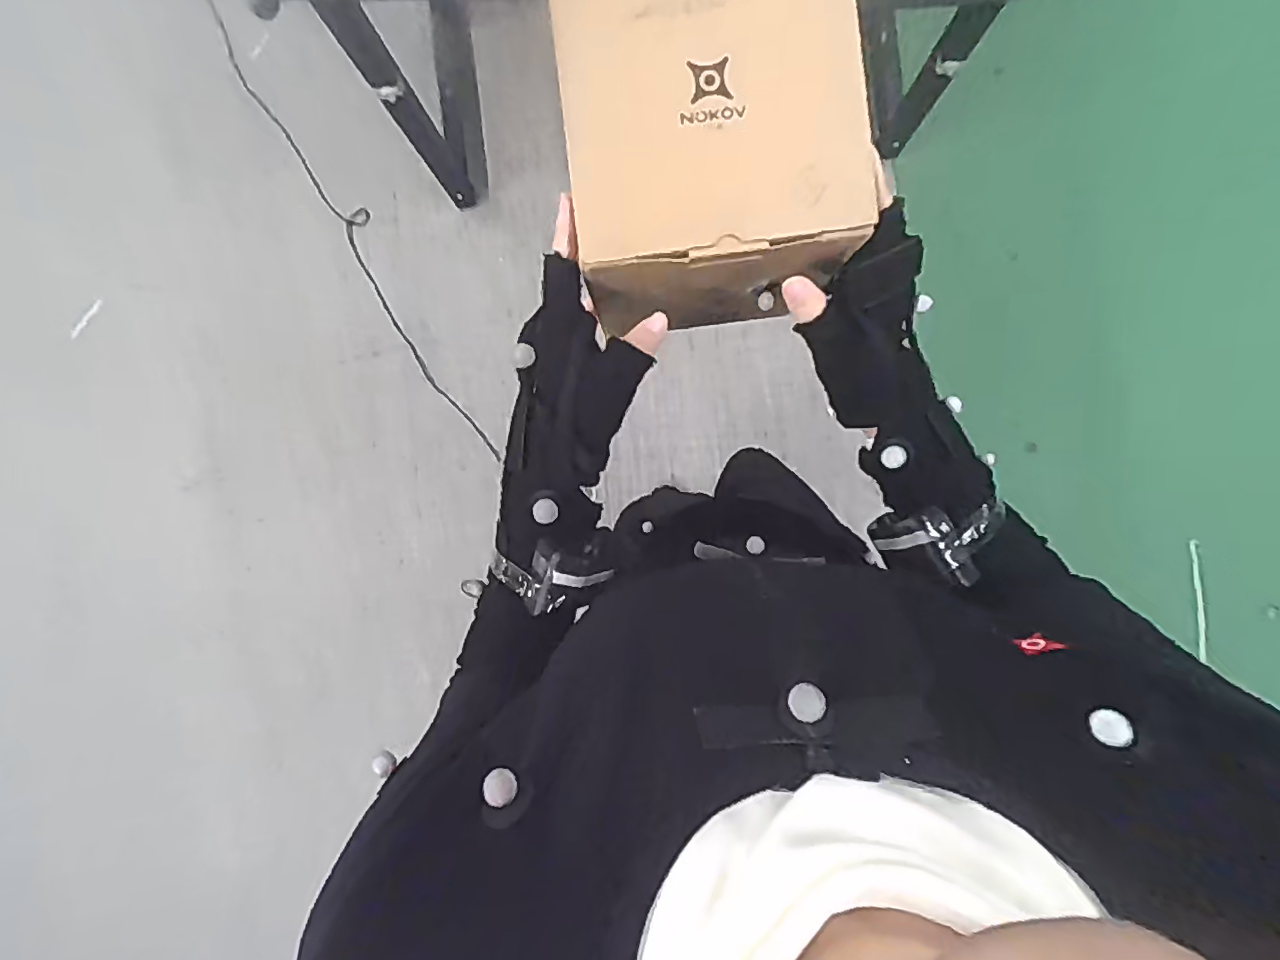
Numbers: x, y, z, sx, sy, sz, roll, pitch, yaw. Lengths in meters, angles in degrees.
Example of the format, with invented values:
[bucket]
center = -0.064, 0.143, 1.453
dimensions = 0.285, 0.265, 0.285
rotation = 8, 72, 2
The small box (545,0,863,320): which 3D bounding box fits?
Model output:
[small box]
center = 0.036, -0.220, 0.378
dimensions = 0.168, 0.176, 0.179
rotation = -7, 91, 1
